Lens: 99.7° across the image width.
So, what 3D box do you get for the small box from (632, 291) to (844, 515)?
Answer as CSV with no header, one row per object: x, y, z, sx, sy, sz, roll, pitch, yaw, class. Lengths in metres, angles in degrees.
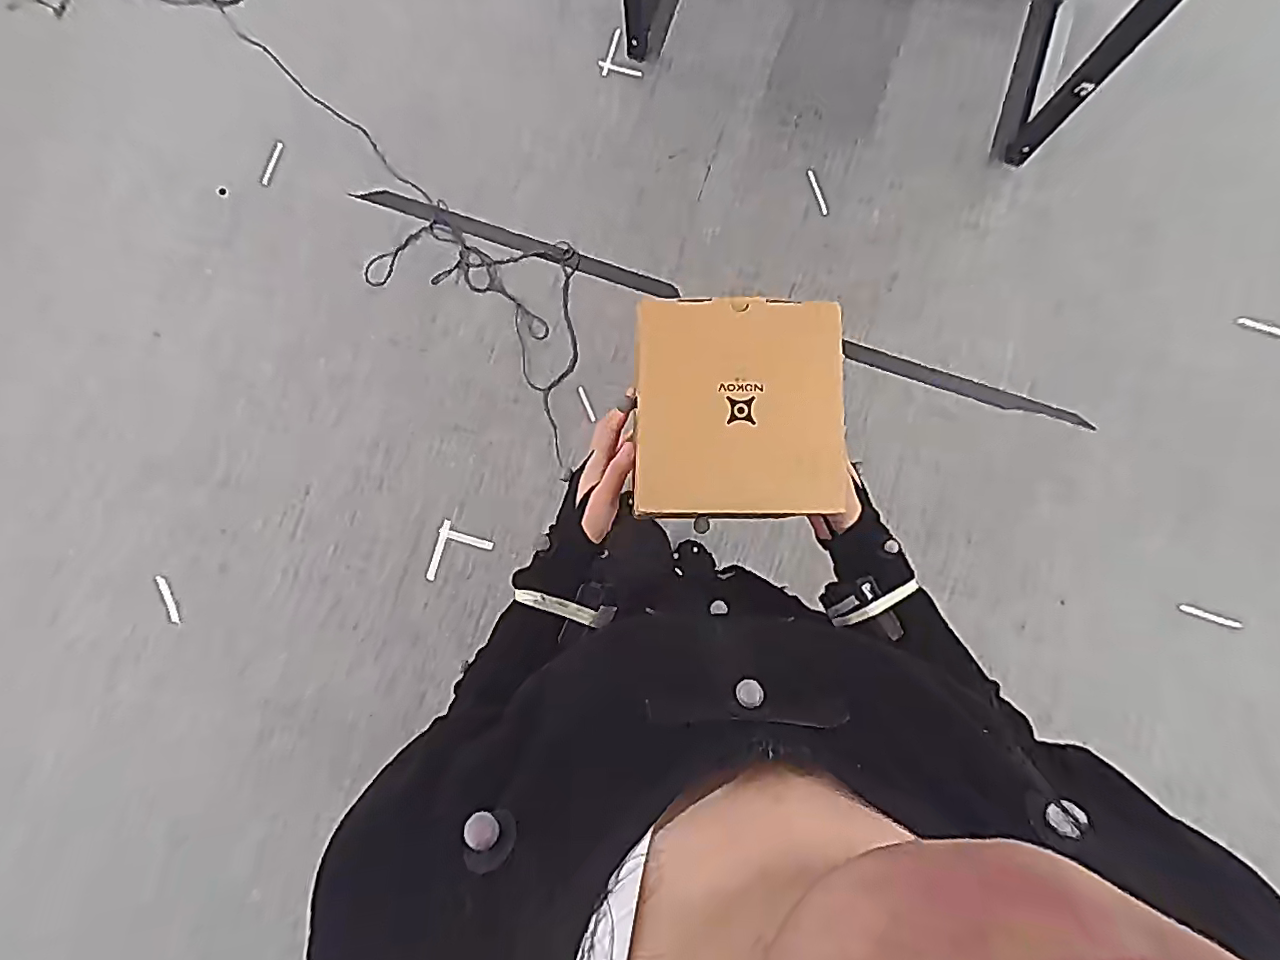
0.078,-0.057,0.507,0.168,0.176,0.179,0,83,-2,small box
